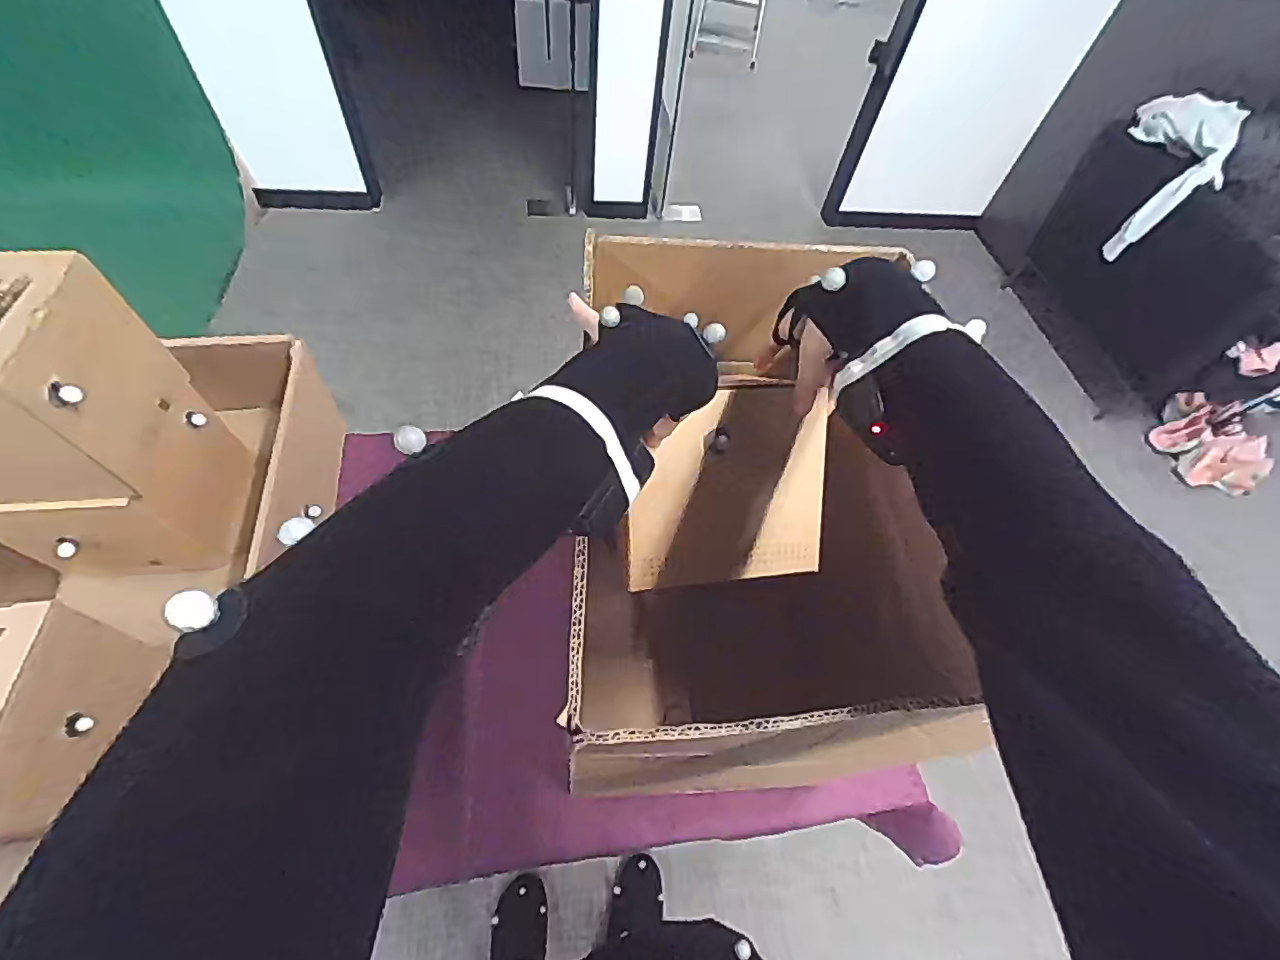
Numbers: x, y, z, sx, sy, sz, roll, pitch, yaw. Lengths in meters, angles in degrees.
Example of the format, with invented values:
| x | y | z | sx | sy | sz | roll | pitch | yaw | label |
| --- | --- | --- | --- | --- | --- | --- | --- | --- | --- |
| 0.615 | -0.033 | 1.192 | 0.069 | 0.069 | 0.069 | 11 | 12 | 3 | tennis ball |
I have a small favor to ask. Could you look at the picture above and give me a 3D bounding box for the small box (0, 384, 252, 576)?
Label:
| x | y | z | sx | sy | sz | roll | pitch | yaw | label |
| --- | --- | --- | --- | --- | --- | --- | --- | --- | --- |
| -0.611 | 0.007 | 0.649 | 0.168 | 0.176 | 0.179 | -3 | 57 | -7 | small box |
